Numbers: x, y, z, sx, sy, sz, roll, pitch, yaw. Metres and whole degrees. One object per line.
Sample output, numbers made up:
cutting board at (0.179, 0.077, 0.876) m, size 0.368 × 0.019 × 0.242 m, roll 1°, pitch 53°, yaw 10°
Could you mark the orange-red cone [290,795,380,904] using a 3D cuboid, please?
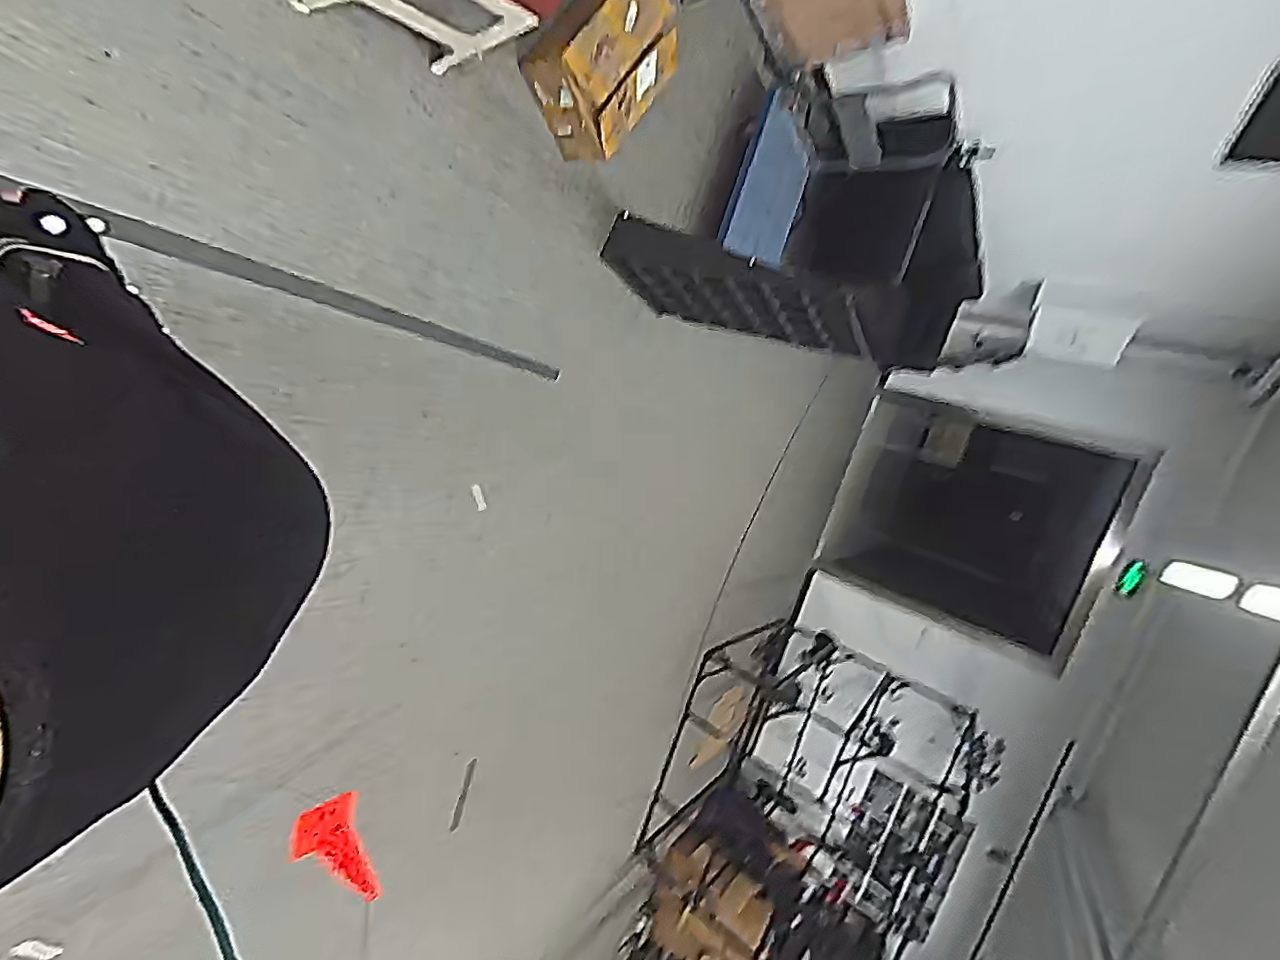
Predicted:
orange-red cone at (-0.995, 1.295, 1.833) m, size 0.198 × 0.360 × 0.199 m, roll 0°, pitch 108°, yaw -56°
